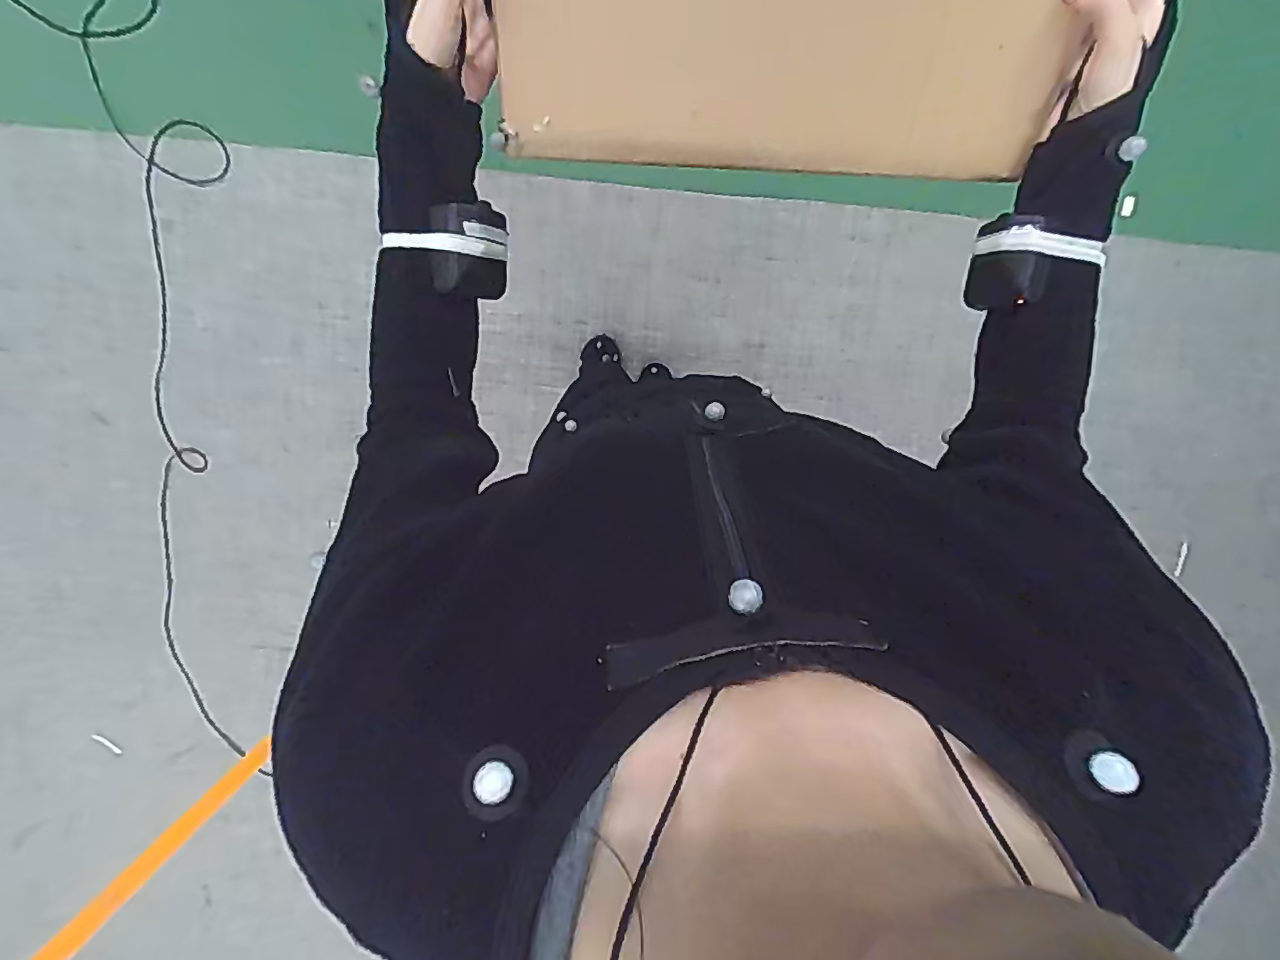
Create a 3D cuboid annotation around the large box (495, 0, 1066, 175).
[{"bbox_3d":[0.097,-0.462,0.454,0.408,0.320,0.320,1,126,-4],"label":"large box"}]
